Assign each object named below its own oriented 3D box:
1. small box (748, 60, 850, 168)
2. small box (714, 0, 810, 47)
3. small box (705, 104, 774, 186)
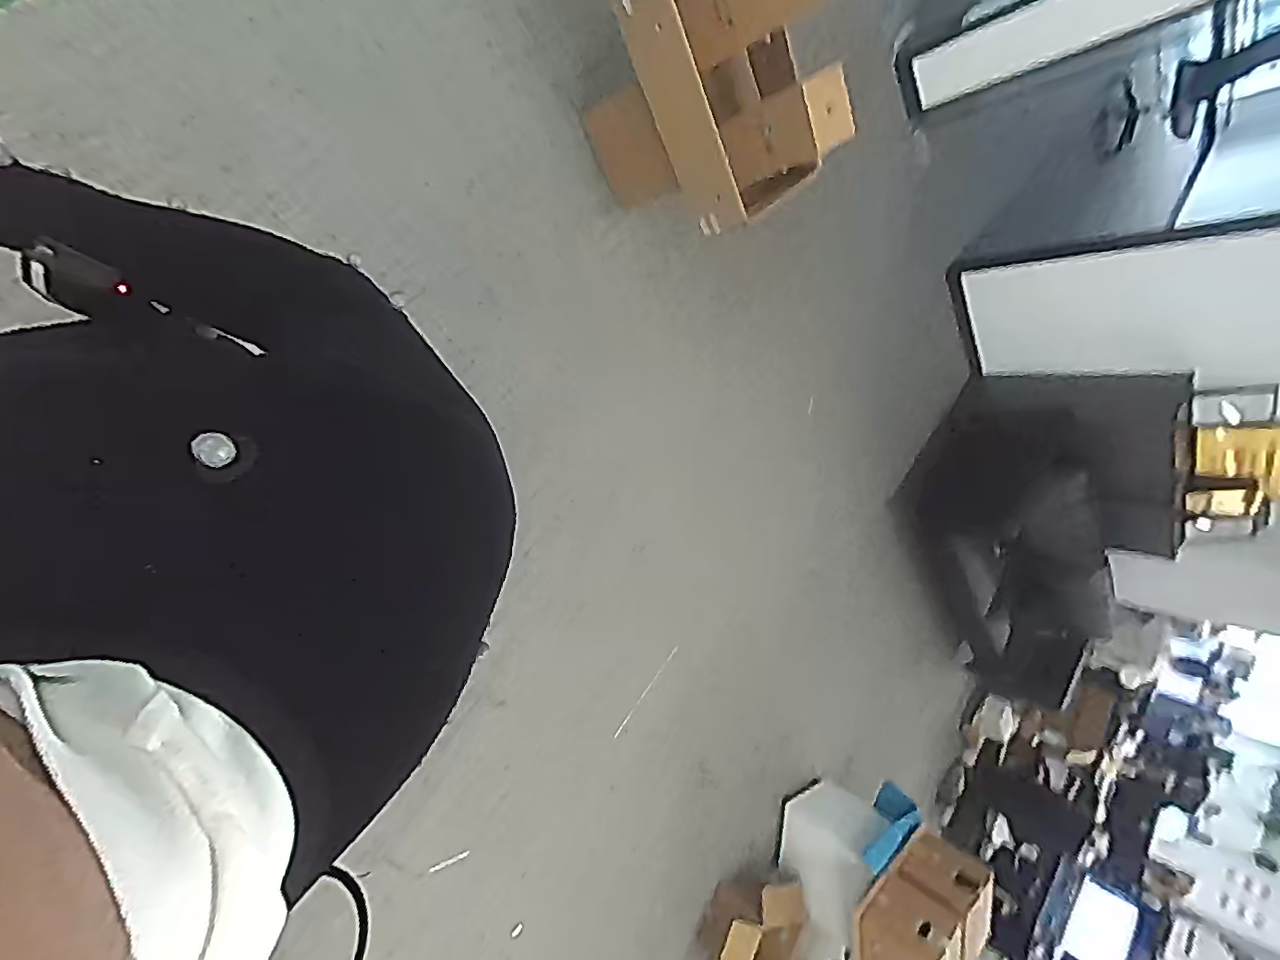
[{"bbox_3d":[0.412,-0.944,1.405,0.179,0.176,0.168,-41,121,-25],"label":"small box"},{"bbox_3d":[0.289,-1.167,1.263,0.179,0.176,0.168,-47,123,-22],"label":"small box"},{"bbox_3d":[0.315,-0.966,1.534,0.179,0.176,0.168,-40,120,-25],"label":"small box"}]
